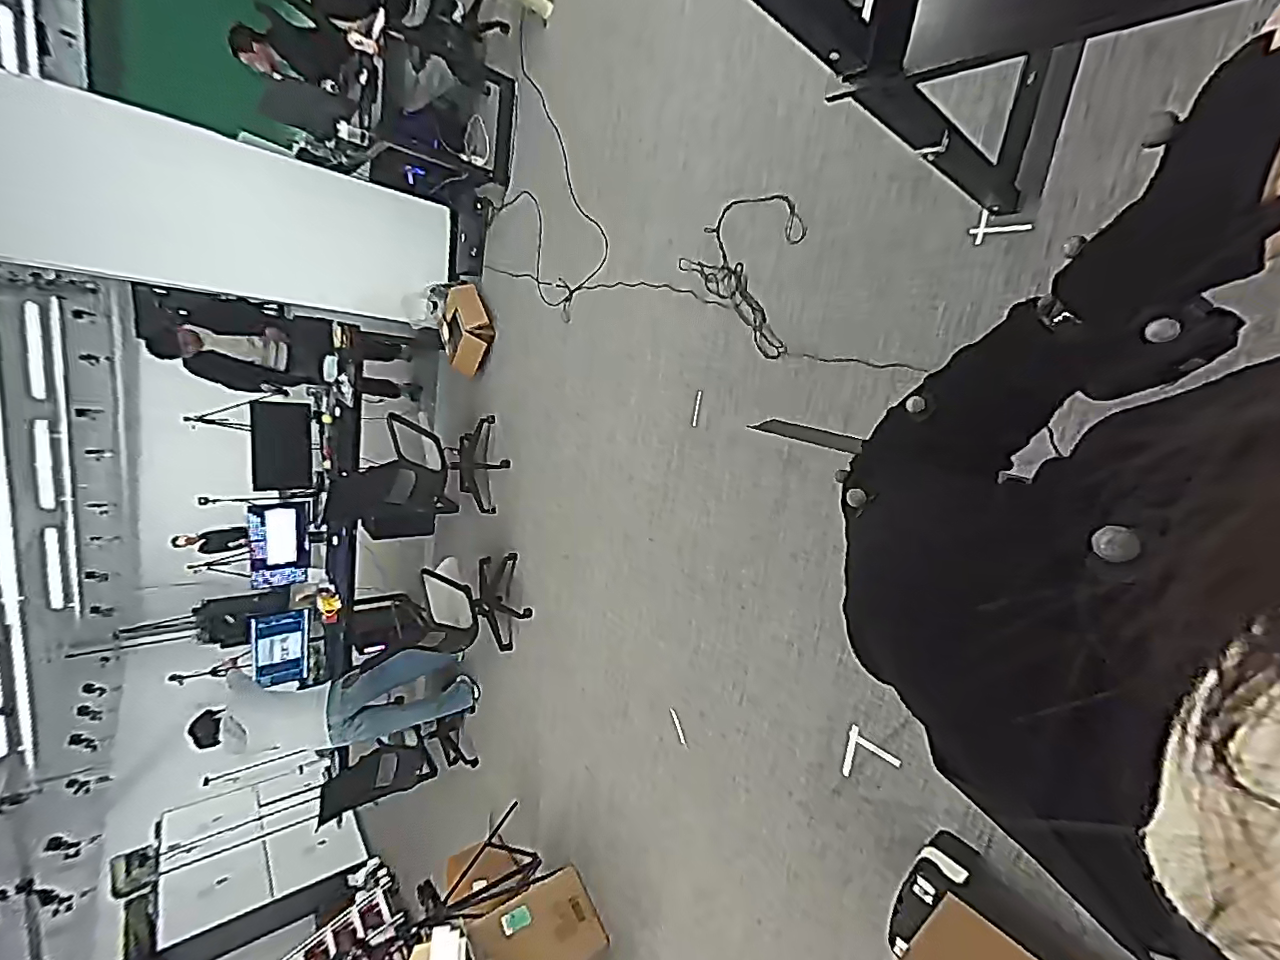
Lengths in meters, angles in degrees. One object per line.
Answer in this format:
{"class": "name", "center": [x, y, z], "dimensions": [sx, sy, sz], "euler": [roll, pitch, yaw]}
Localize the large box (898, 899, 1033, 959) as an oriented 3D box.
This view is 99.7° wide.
{"class": "large box", "center": [0.718, 1.171, 1.061], "dimensions": [0.408, 0.320, 0.320], "euler": [20, 107, 47]}
